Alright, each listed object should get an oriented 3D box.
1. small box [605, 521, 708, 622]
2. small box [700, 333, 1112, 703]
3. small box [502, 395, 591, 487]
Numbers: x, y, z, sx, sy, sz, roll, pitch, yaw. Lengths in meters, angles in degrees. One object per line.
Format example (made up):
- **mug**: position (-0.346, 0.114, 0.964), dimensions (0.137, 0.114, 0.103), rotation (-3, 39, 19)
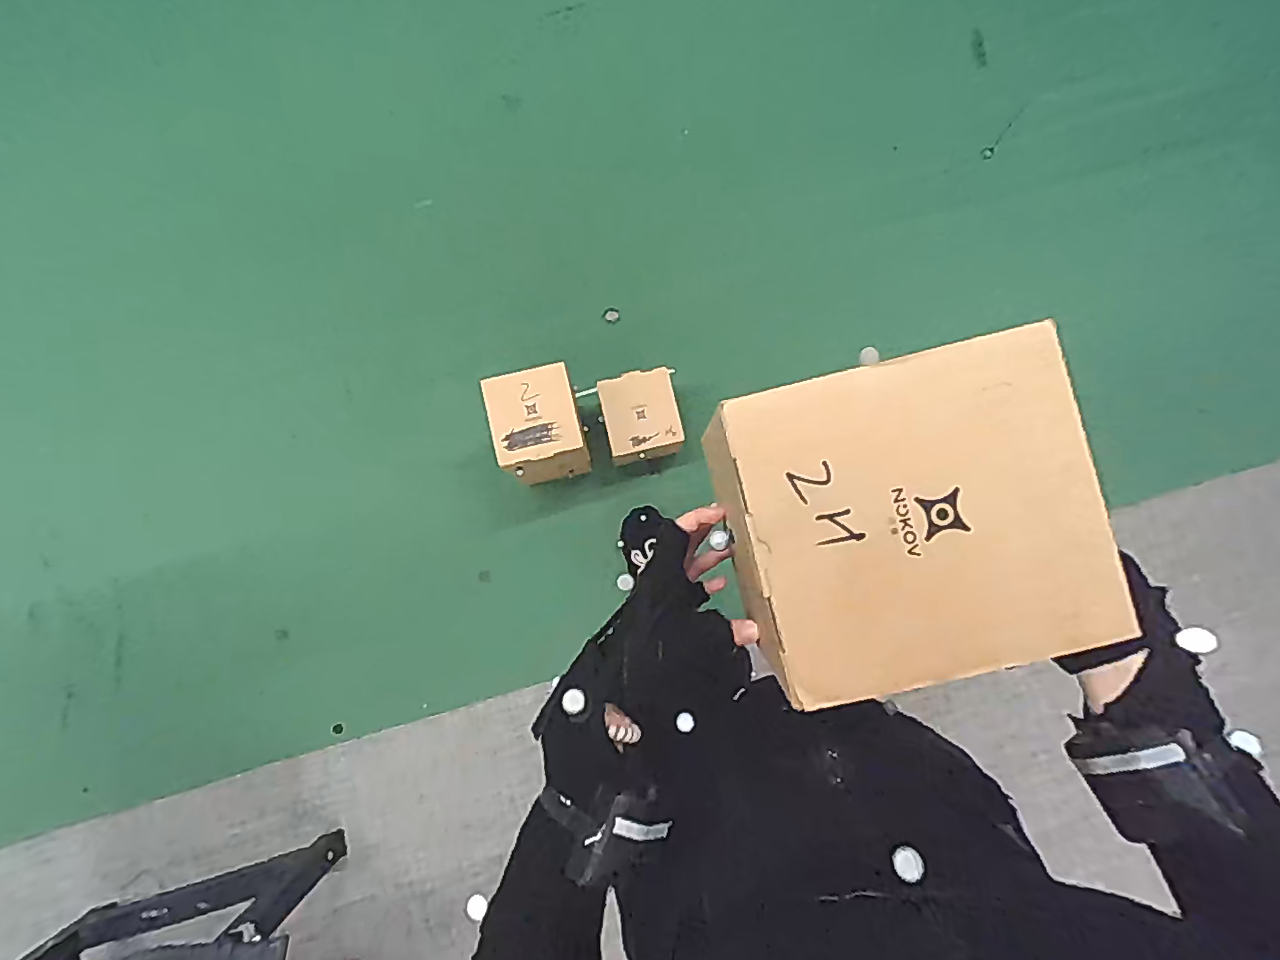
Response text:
- **small box**: position (0.036, 0.208, 1.266), dimensions (0.179, 0.176, 0.168), rotation (26, 99, 19)
- **small box**: position (0.144, 0.022, 0.363), dimensions (0.179, 0.176, 0.168), rotation (-14, 87, 4)
- **small box**: position (-0.213, -0.083, 1.275), dimensions (0.168, 0.176, 0.179), rotation (-11, 84, -2)
